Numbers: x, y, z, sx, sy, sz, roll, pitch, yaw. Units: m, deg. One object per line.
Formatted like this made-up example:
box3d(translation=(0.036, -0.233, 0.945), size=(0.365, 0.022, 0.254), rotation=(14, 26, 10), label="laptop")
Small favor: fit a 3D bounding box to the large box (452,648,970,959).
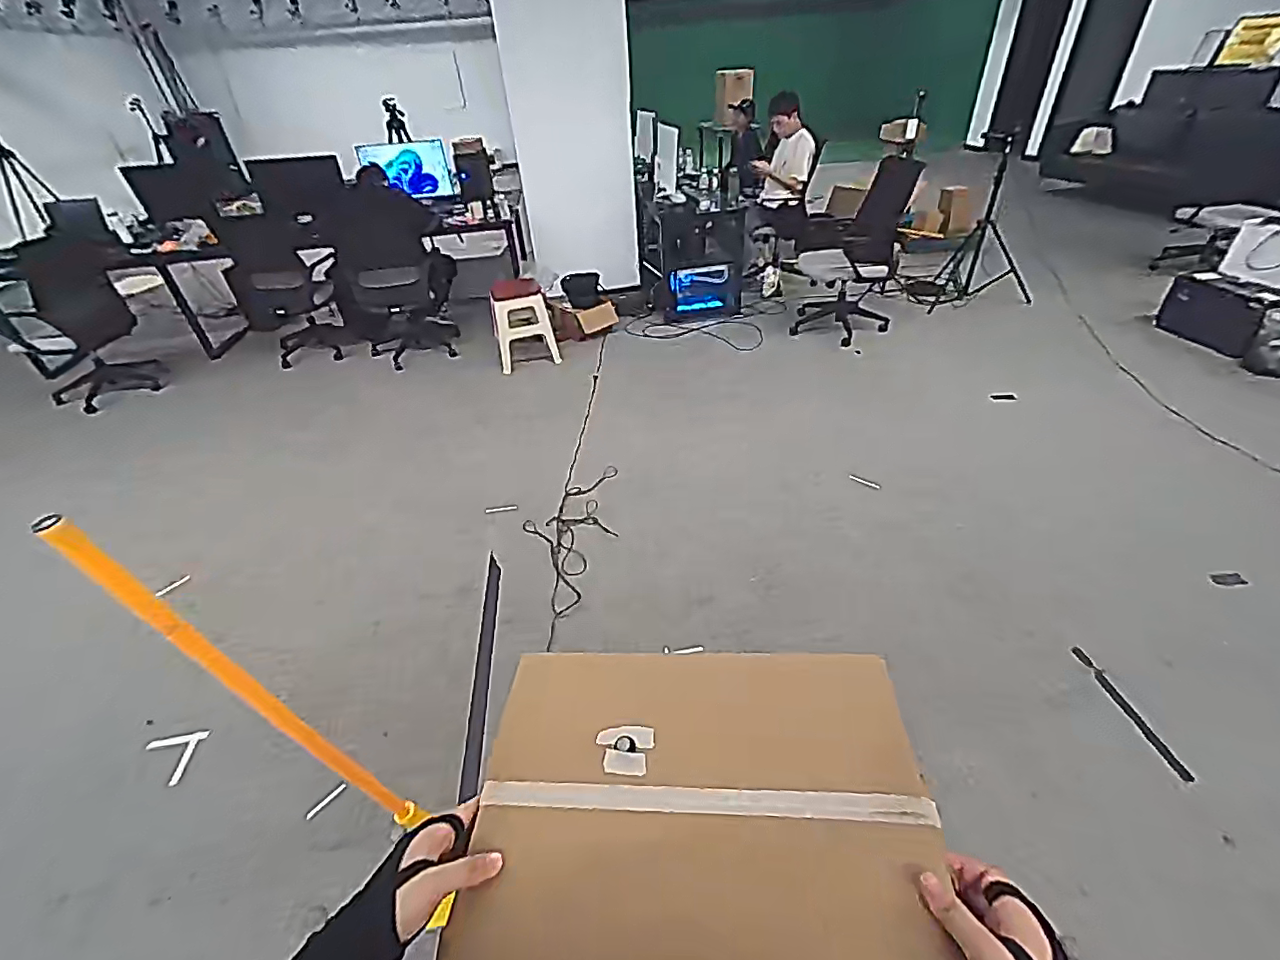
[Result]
box3d(translation=(0.076, 0.411, 0.594), size=(0.408, 0.320, 0.320), rotation=(-4, 37, 9), label="large box")
